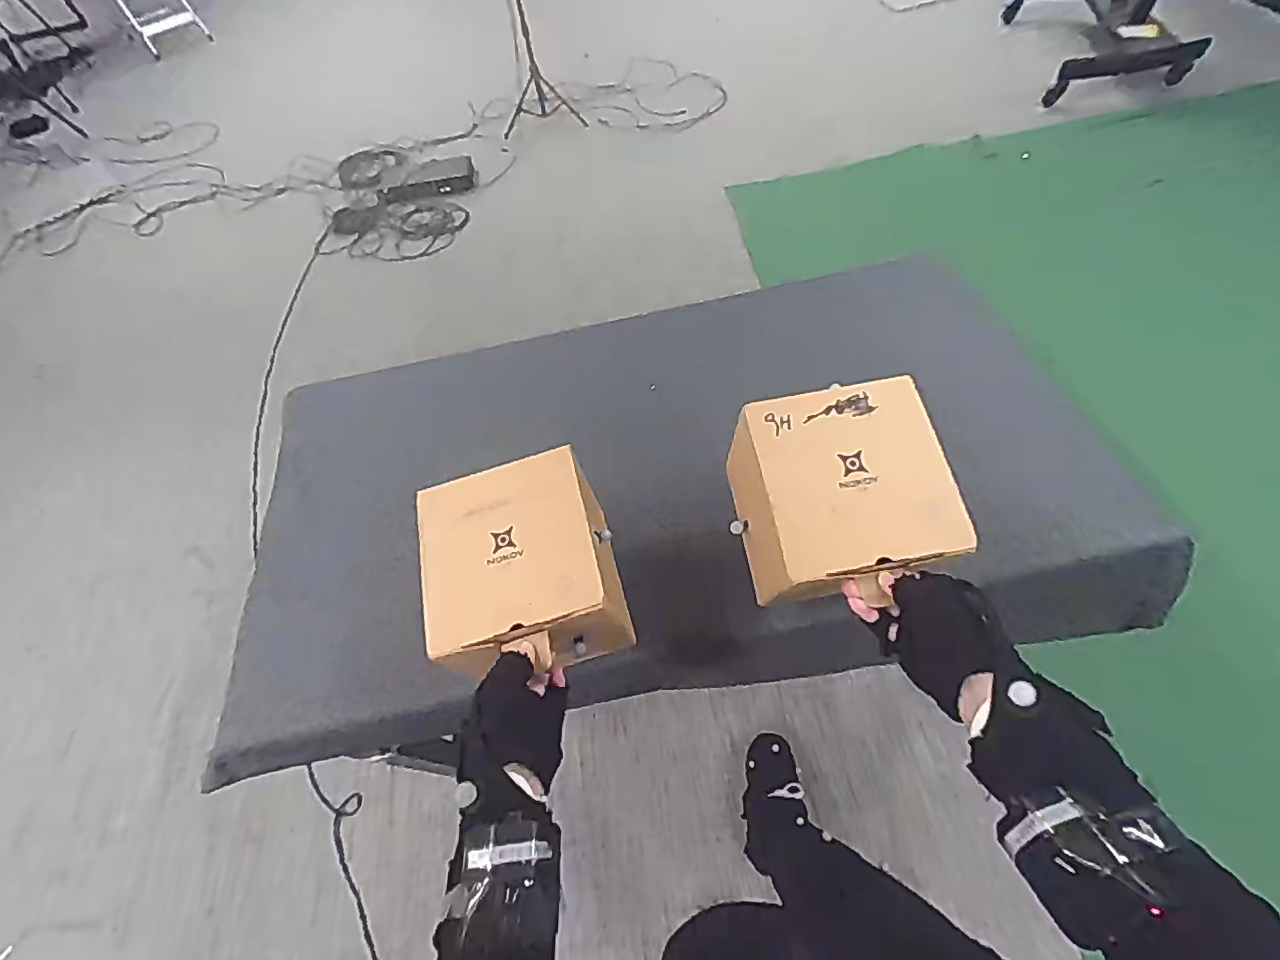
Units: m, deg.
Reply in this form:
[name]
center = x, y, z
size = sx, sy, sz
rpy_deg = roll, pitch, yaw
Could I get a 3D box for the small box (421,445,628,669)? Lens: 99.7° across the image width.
[small box]
center = -0.119, 0.095, 0.591
size = 0.168, 0.176, 0.179
rpy_deg = -17, 59, -2
